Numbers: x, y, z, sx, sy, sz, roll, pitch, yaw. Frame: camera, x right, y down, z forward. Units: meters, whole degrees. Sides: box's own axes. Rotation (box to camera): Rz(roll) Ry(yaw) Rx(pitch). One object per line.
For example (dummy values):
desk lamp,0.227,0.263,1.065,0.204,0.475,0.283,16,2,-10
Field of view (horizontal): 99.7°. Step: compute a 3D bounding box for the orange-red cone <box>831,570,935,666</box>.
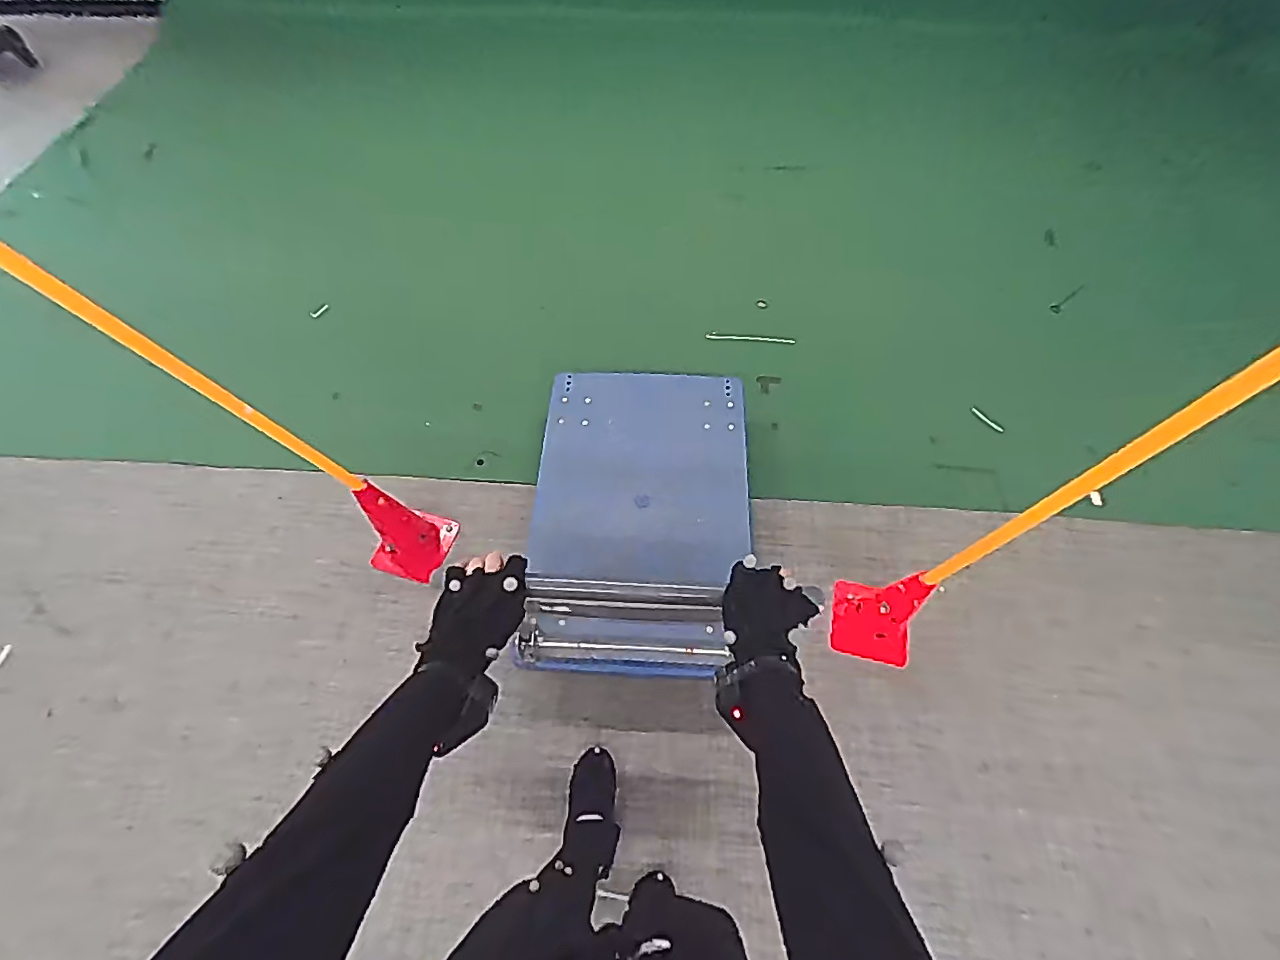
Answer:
orange-red cone,0.614,0.297,1.298,0.198,0.360,0.199,13,62,9
